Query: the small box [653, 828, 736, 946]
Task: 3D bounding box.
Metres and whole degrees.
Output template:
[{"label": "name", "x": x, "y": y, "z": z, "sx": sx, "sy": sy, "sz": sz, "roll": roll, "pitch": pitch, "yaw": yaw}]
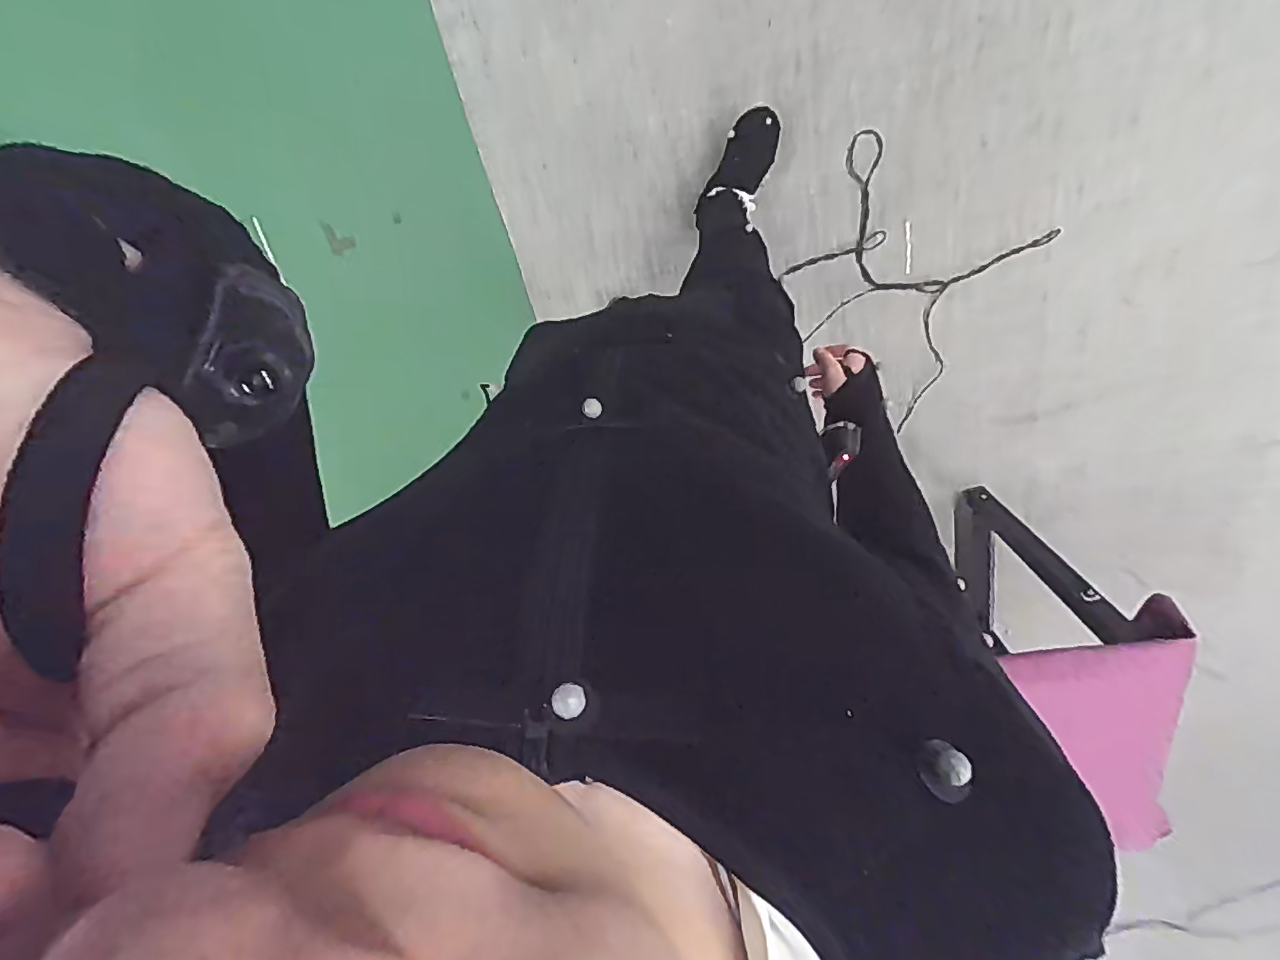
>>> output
[{"label": "small box", "x": 0.127, "y": 0.956, "z": 1.282, "sx": 0.168, "sy": 0.176, "sz": 0.179, "roll": -10, "pitch": 113, "yaw": 8}]
